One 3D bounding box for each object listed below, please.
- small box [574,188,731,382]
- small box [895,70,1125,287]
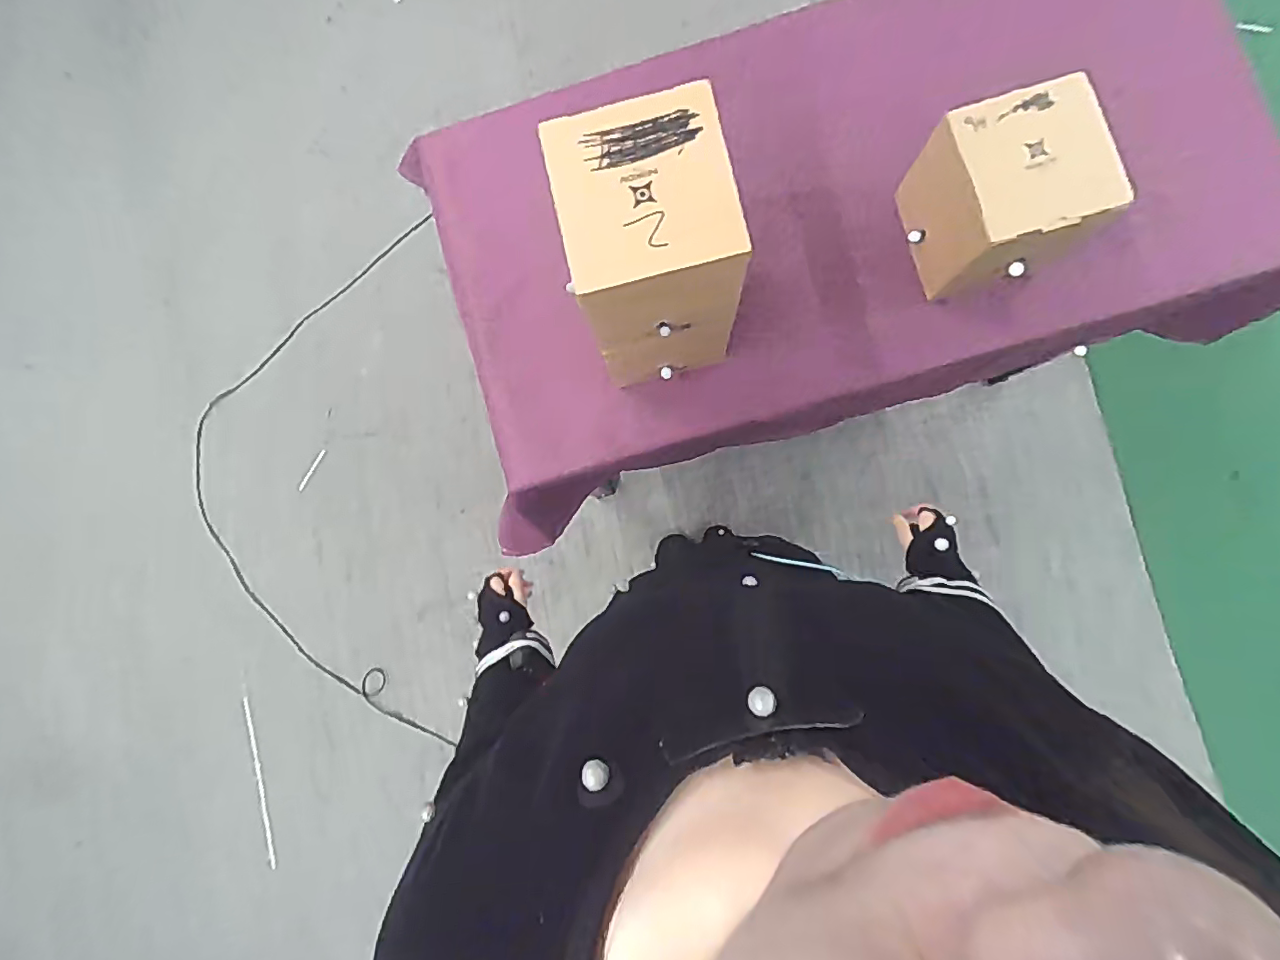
[{"bbox_3d":[0.019,-0.253,0.740,0.168,0.176,0.179,-13,86,3],"label":"small box"},{"bbox_3d":[0.468,-0.375,0.714,0.168,0.176,0.179,-15,85,3],"label":"small box"}]
